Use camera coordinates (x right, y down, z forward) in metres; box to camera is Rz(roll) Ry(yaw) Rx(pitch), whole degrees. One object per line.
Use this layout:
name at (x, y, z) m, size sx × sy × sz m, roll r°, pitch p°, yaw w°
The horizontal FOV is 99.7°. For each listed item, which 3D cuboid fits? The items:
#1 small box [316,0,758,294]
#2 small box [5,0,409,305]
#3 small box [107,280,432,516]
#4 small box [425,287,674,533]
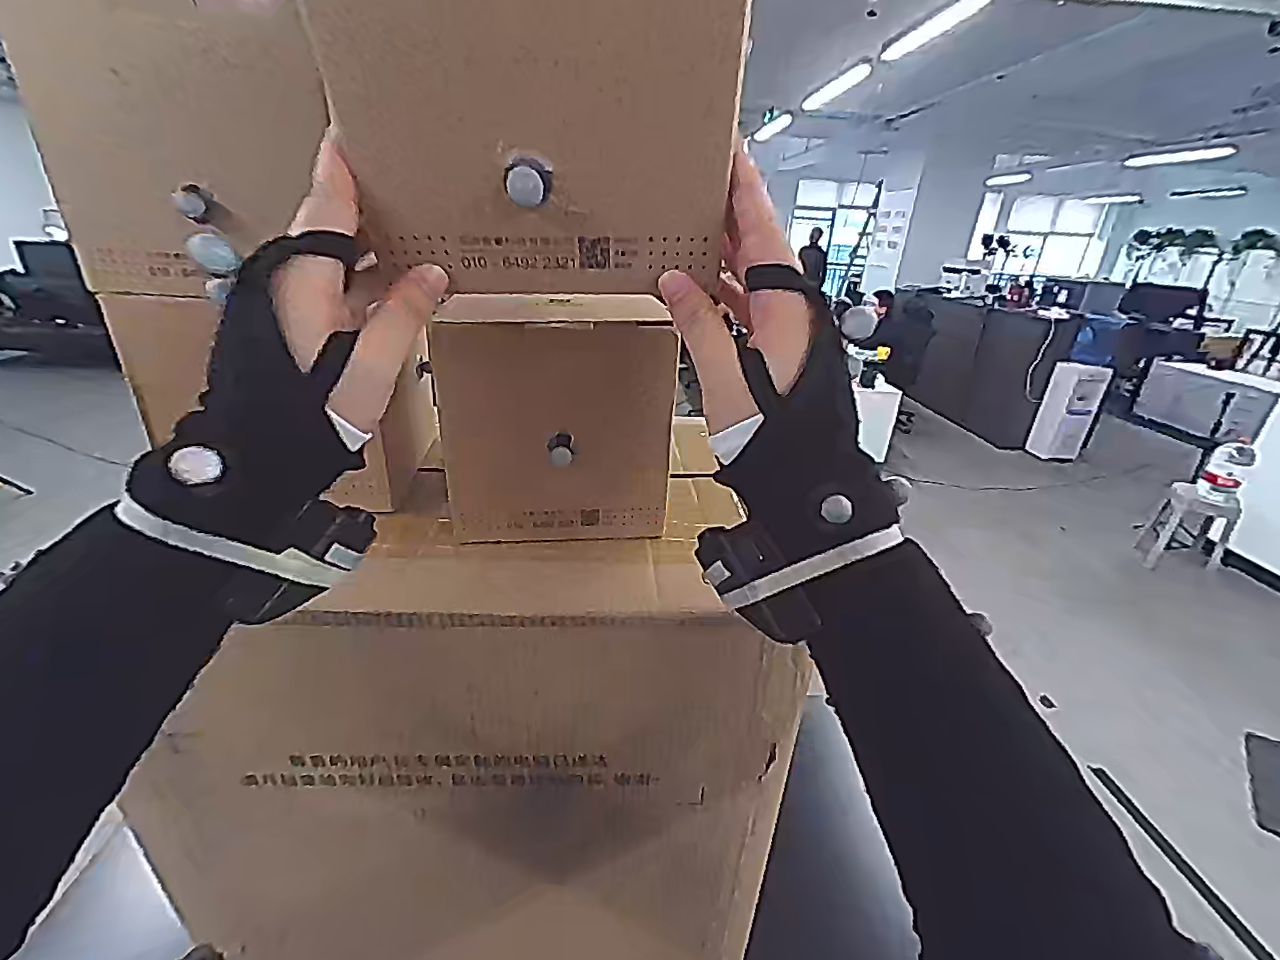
small box at (-0.041, -0.208, 0.266) m, size 0.168 × 0.176 × 0.179 m, roll 0°, pitch 43°, yaw -1°
small box at (-0.277, -0.231, 0.398) m, size 0.168 × 0.176 × 0.179 m, roll 0°, pitch 26°, yaw -7°
small box at (-0.285, -0.083, 0.470) m, size 0.168 × 0.176 × 0.179 m, roll -1°, pitch 27°, yaw -9°
small box at (-0.067, -0.064, 0.459) m, size 0.168 × 0.176 × 0.179 m, roll -2°, pitch 27°, yaw -7°
